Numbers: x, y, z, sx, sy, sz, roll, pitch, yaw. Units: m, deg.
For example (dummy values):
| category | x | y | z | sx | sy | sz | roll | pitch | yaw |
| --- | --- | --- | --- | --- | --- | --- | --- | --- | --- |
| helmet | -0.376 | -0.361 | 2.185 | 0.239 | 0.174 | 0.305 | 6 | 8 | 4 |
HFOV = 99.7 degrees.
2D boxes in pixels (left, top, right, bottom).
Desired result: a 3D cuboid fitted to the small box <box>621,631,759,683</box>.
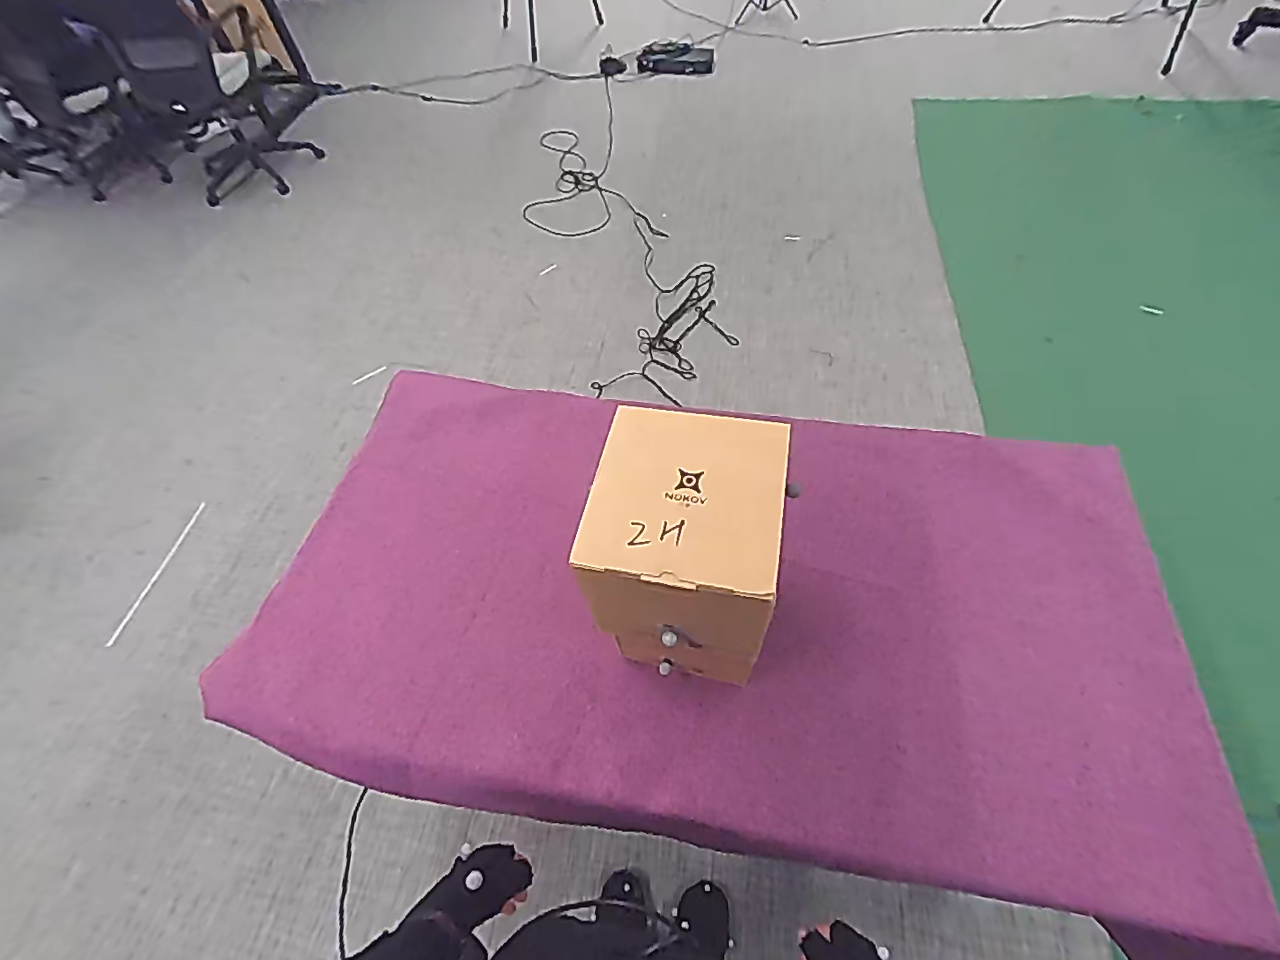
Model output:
| category | x | y | z | sx | sy | sz | roll | pitch | yaw |
| --- | --- | --- | --- | --- | --- | --- | --- | --- | --- |
| small box | 0.070 | 0.132 | 0.680 | 0.168 | 0.176 | 0.179 | 10 | 58 | 12 |

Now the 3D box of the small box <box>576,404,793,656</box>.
| category | x | y | z | sx | sy | sz | roll | pitch | yaw |
| --- | --- | --- | --- | --- | --- | --- | --- | --- | --- |
| small box | 0.050 | 0.052 | 0.537 | 0.168 | 0.176 | 0.179 | 8 | 57 | 12 |
